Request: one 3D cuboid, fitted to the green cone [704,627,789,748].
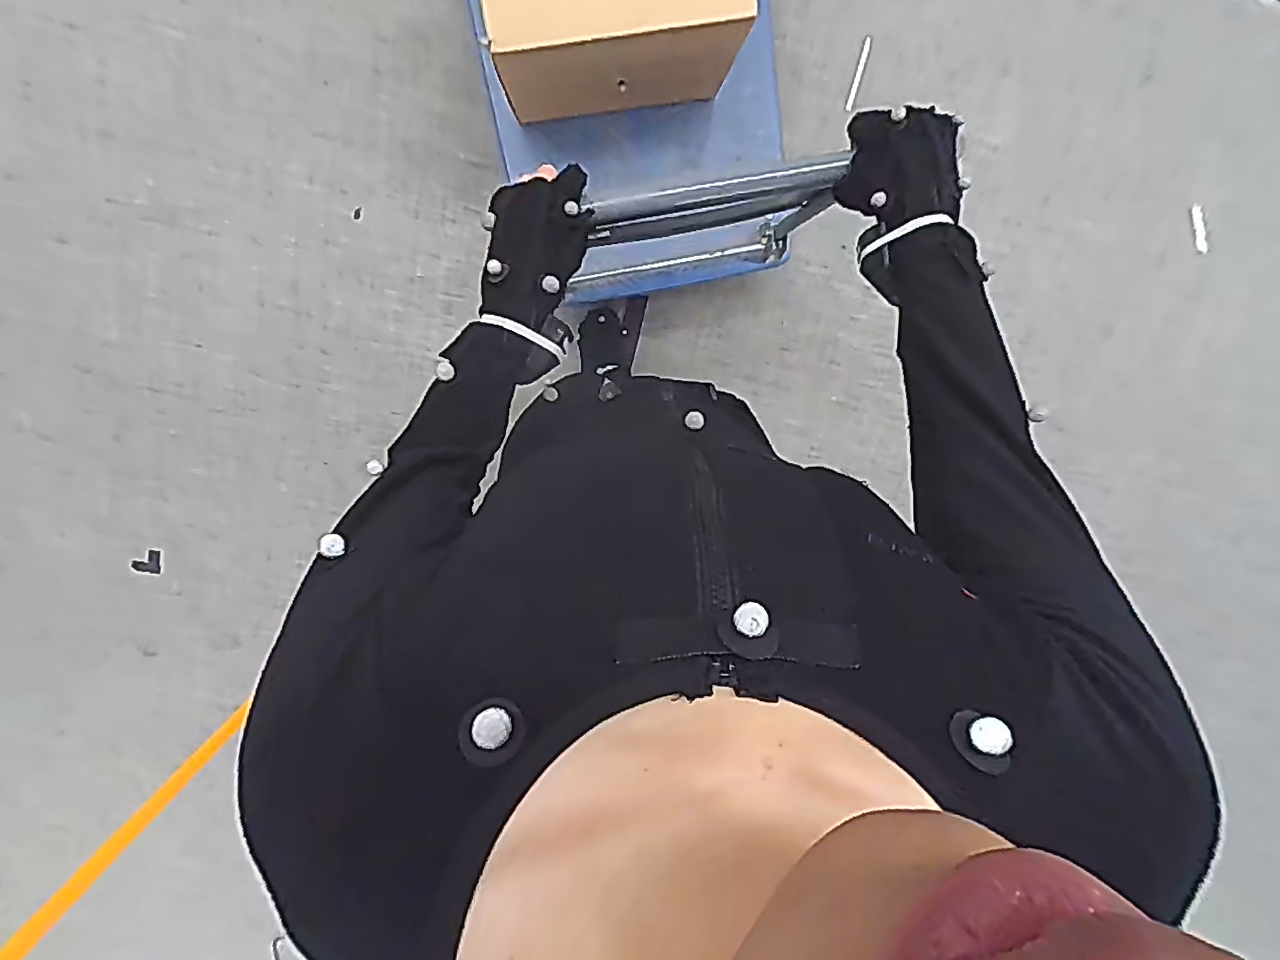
[{"bbox_3d":[0.332,0.607,1.521,0.202,0.368,0.200,15,104,-10],"label":"green cone"}]

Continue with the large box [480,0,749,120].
[{"bbox_3d":[-0.059,-0.856,0.912,0.408,0.320,0.320,-9,107,-1],"label":"large box"}]
